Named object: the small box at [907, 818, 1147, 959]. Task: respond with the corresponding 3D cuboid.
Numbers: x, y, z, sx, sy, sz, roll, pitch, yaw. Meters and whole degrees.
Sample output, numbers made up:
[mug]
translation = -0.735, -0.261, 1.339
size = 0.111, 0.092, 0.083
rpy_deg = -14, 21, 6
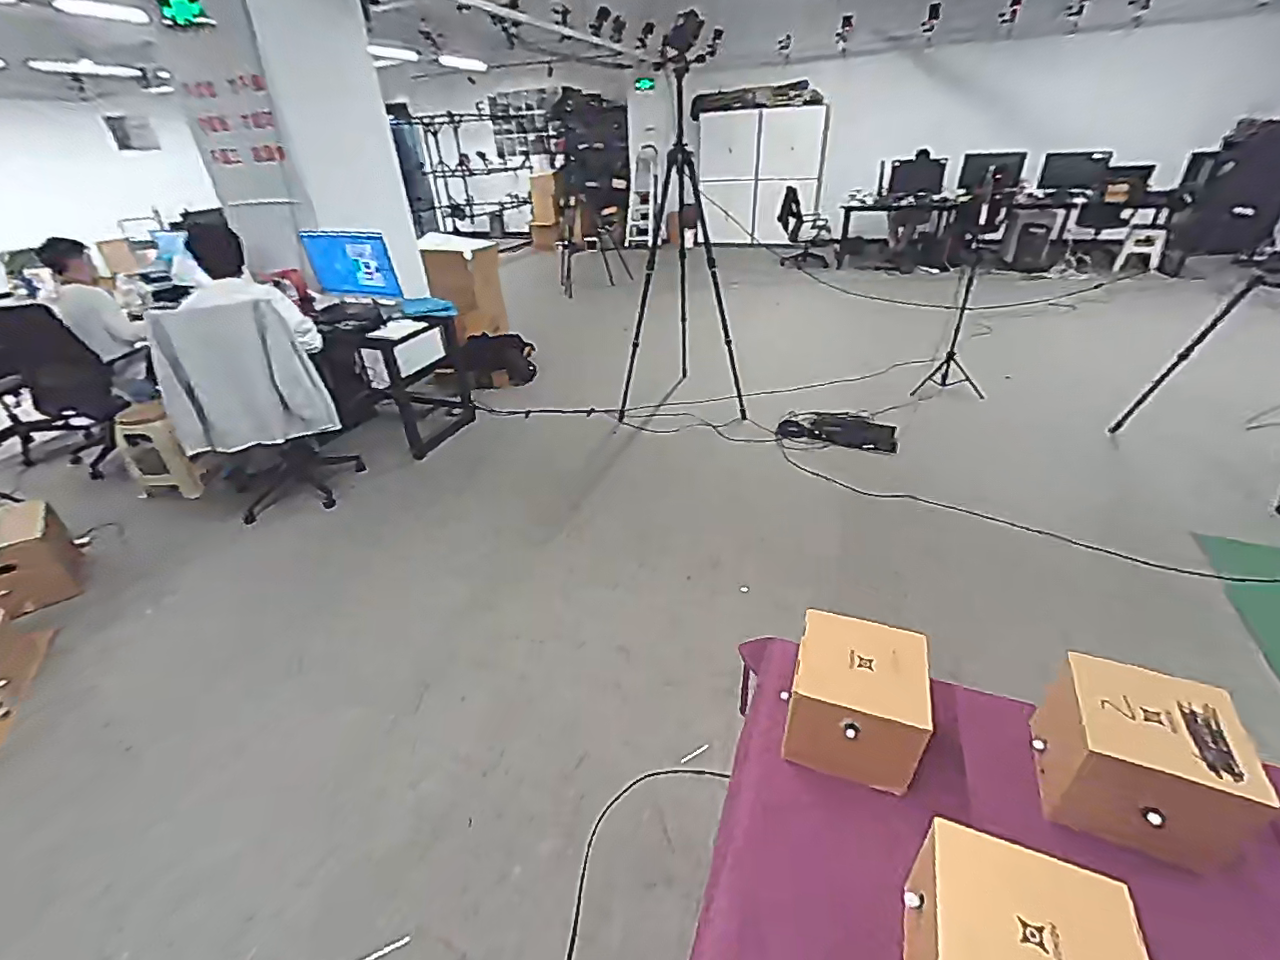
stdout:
[small box]
translation = 0.379, 0.498, 0.551
size = 0.179, 0.176, 0.168
rpy_deg = 11, 35, 21
